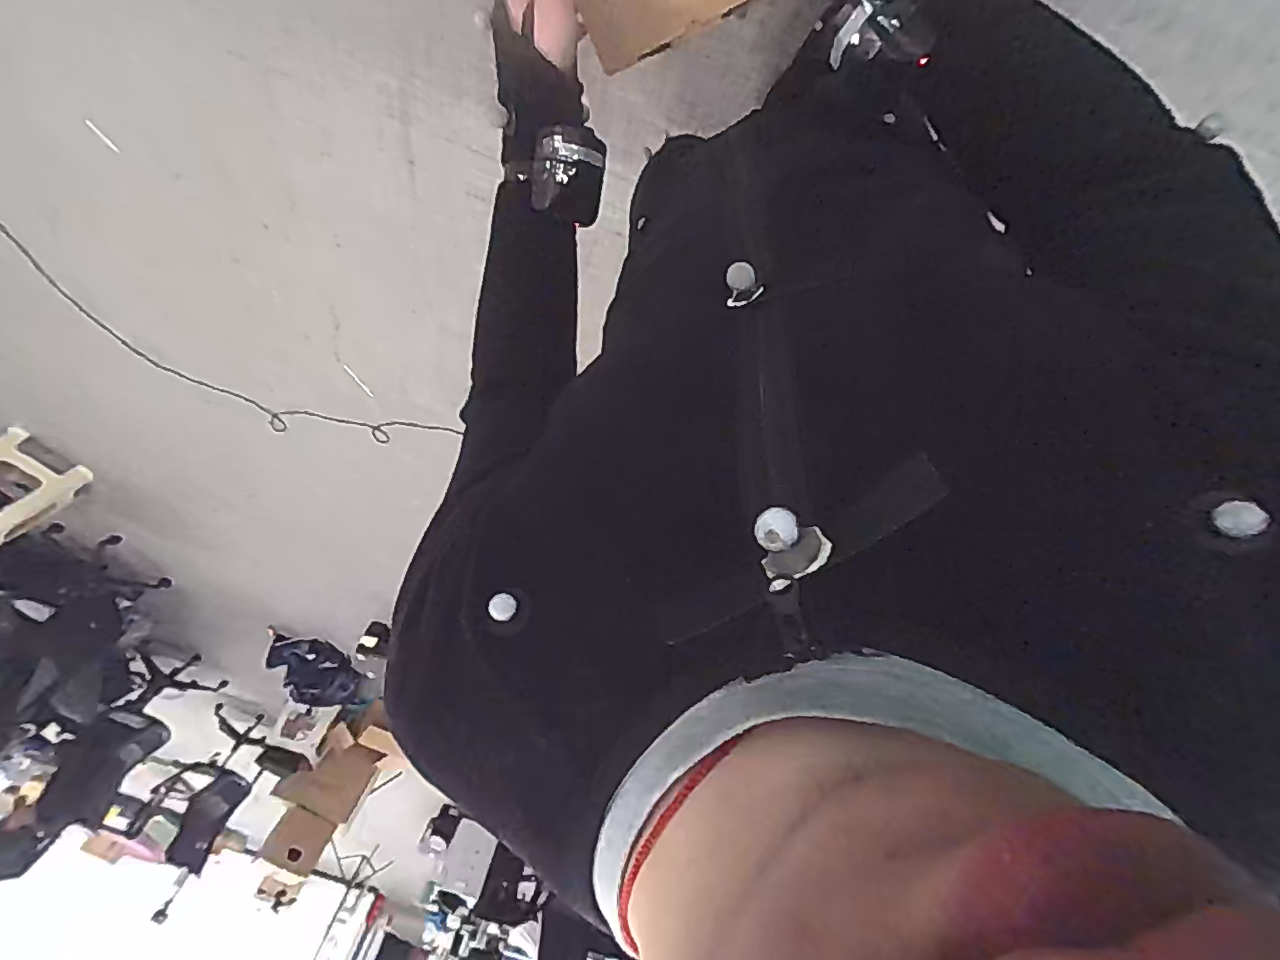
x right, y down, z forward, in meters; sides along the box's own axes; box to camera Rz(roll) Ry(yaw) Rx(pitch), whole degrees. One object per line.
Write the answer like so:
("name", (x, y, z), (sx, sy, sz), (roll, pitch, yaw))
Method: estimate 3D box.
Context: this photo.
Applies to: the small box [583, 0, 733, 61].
("small box", (0.022, -0.484, 0.427), (0.168, 0.176, 0.179), (-12, 134, 21))
